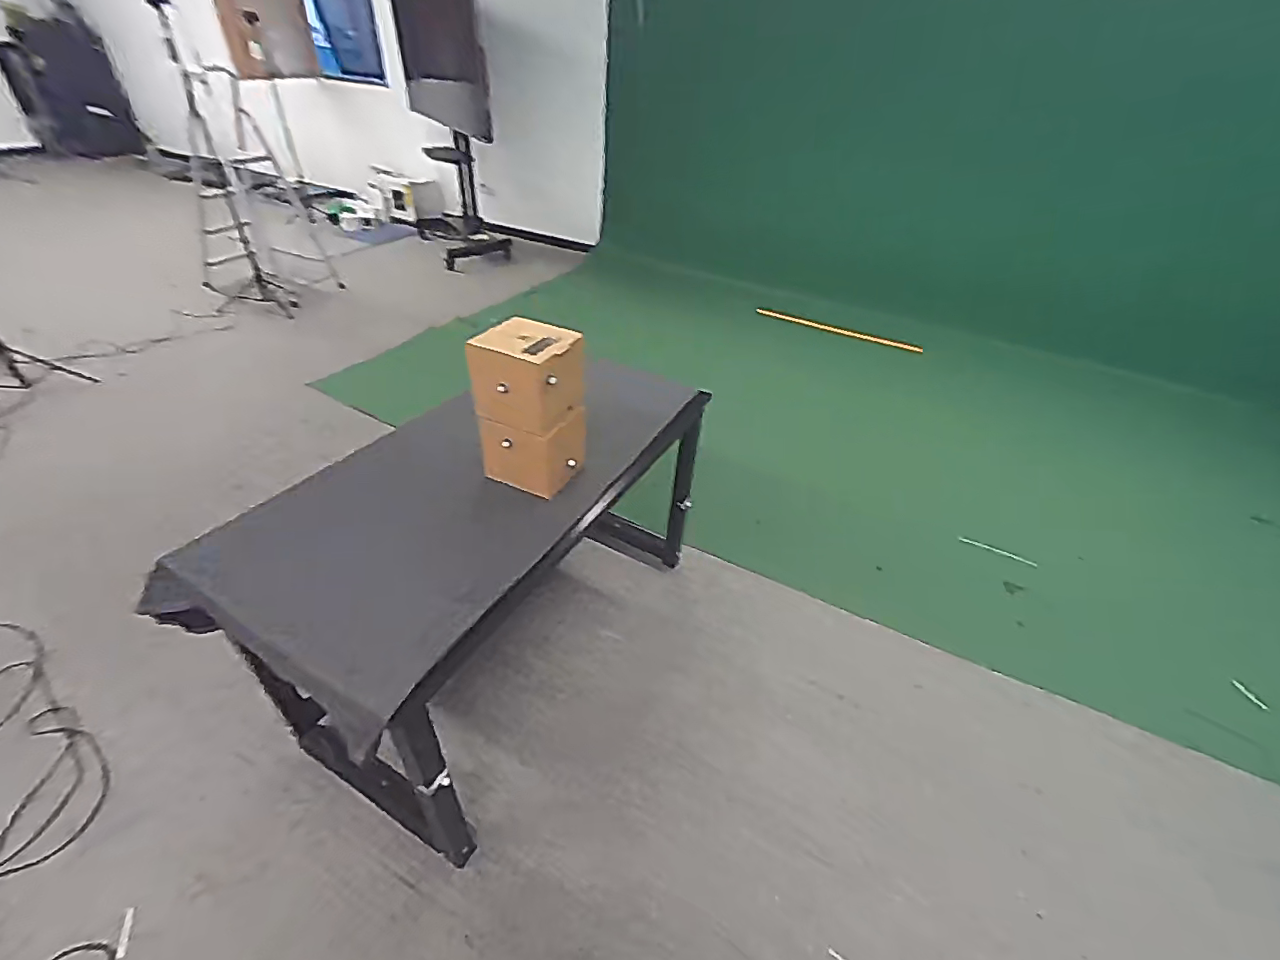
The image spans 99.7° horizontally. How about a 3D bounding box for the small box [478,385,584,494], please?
[{"bbox_3d":[-0.242,-0.092,1.233,0.179,0.176,0.168,18,40,17],"label":"small box"}]
